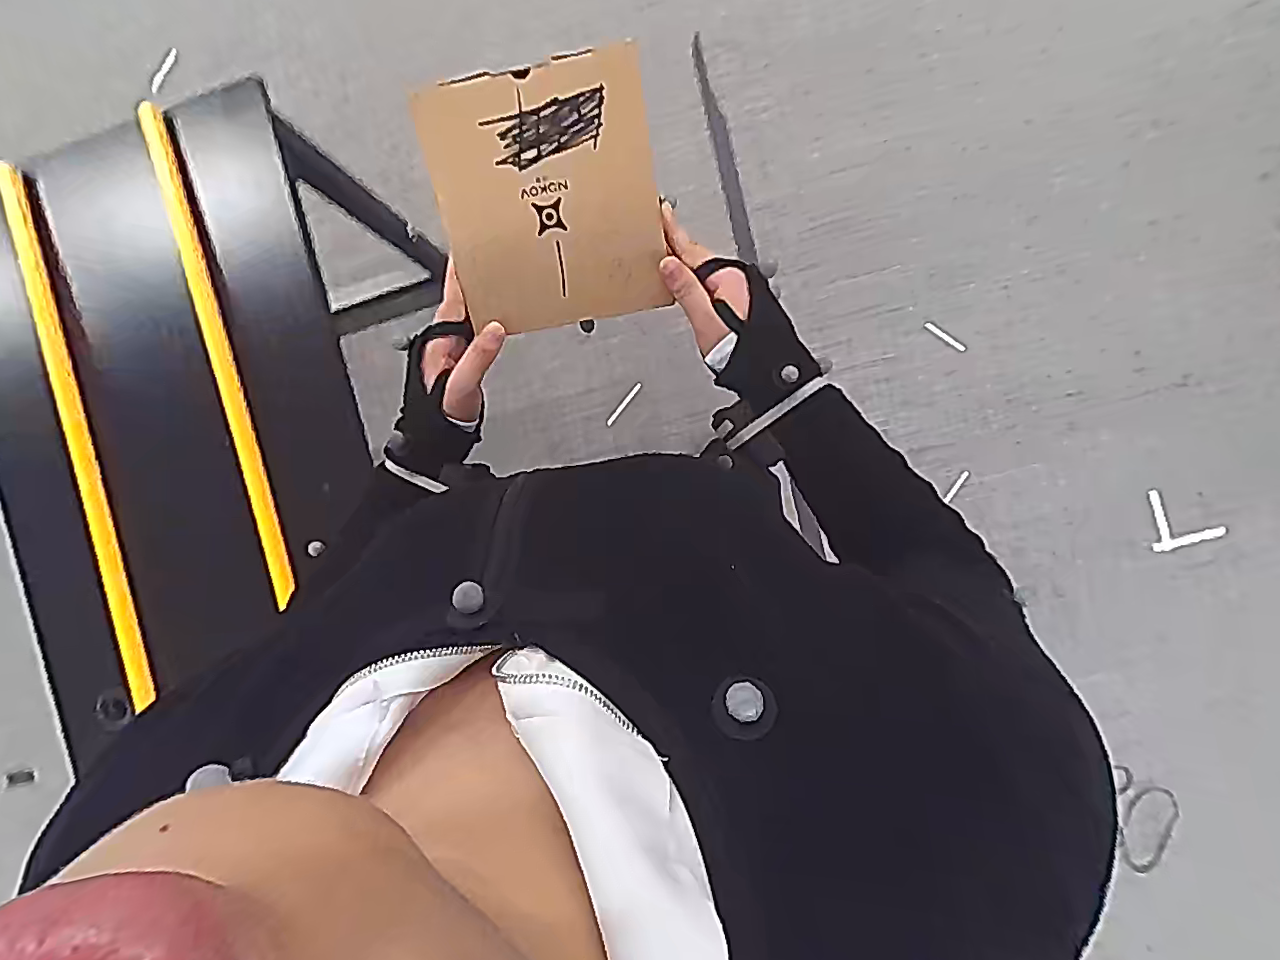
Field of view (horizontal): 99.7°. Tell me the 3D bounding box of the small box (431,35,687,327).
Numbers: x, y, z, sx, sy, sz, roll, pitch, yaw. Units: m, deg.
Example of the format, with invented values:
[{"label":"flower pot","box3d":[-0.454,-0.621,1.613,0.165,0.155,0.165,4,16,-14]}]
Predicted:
[{"label":"small box","box3d":[-0.053,-0.241,0.477,0.168,0.176,0.179,-8,111,6]}]
